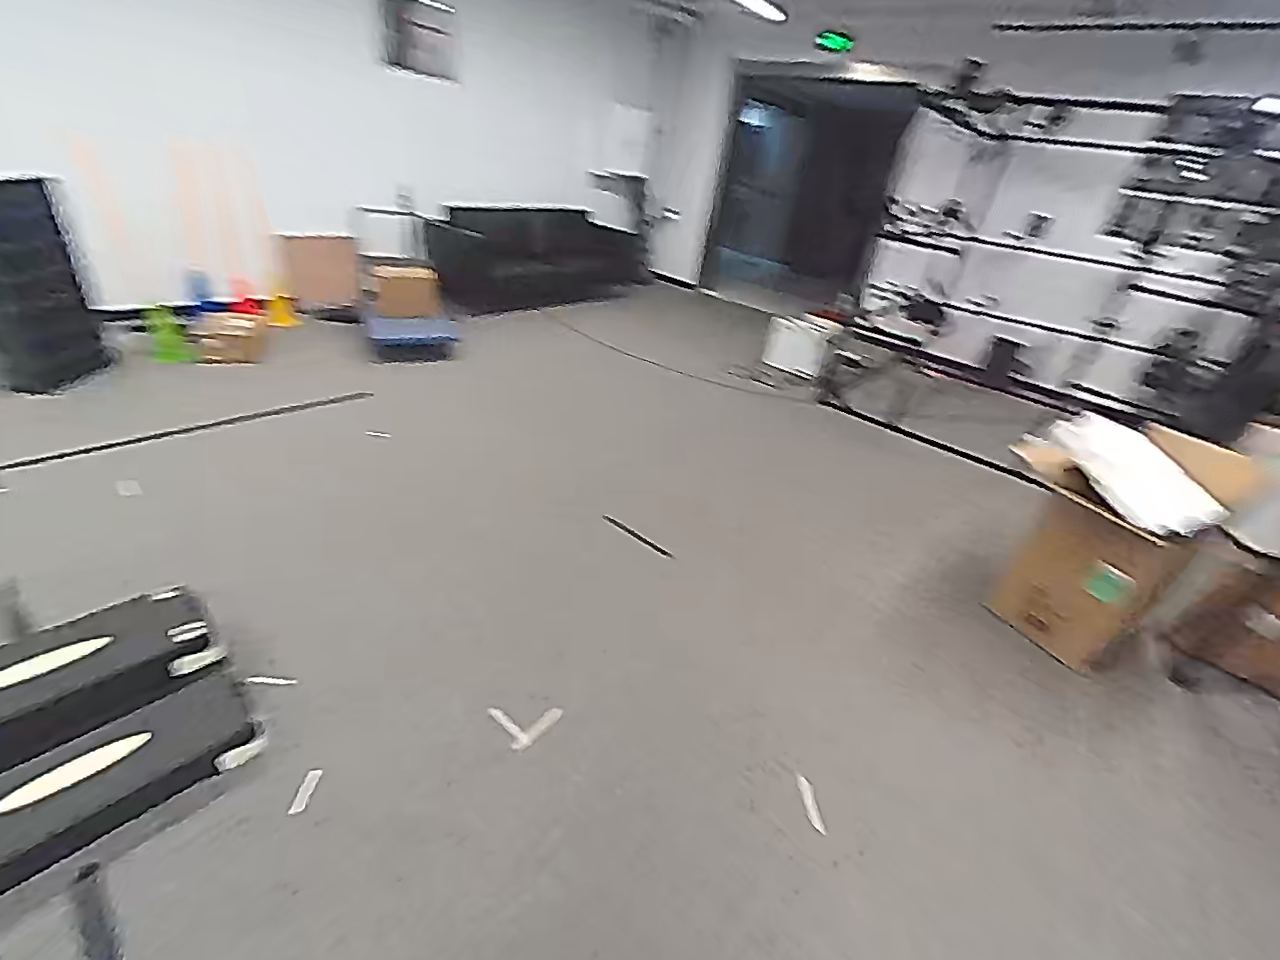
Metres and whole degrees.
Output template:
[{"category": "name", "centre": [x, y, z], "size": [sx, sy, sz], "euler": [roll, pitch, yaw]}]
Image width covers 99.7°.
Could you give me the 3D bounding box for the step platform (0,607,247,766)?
[{"category": "step platform", "centre": [-1.453, 0.589, 1.394], "size": [0.684, 0.204, 0.286], "euler": [-19, 39, -41]}]
